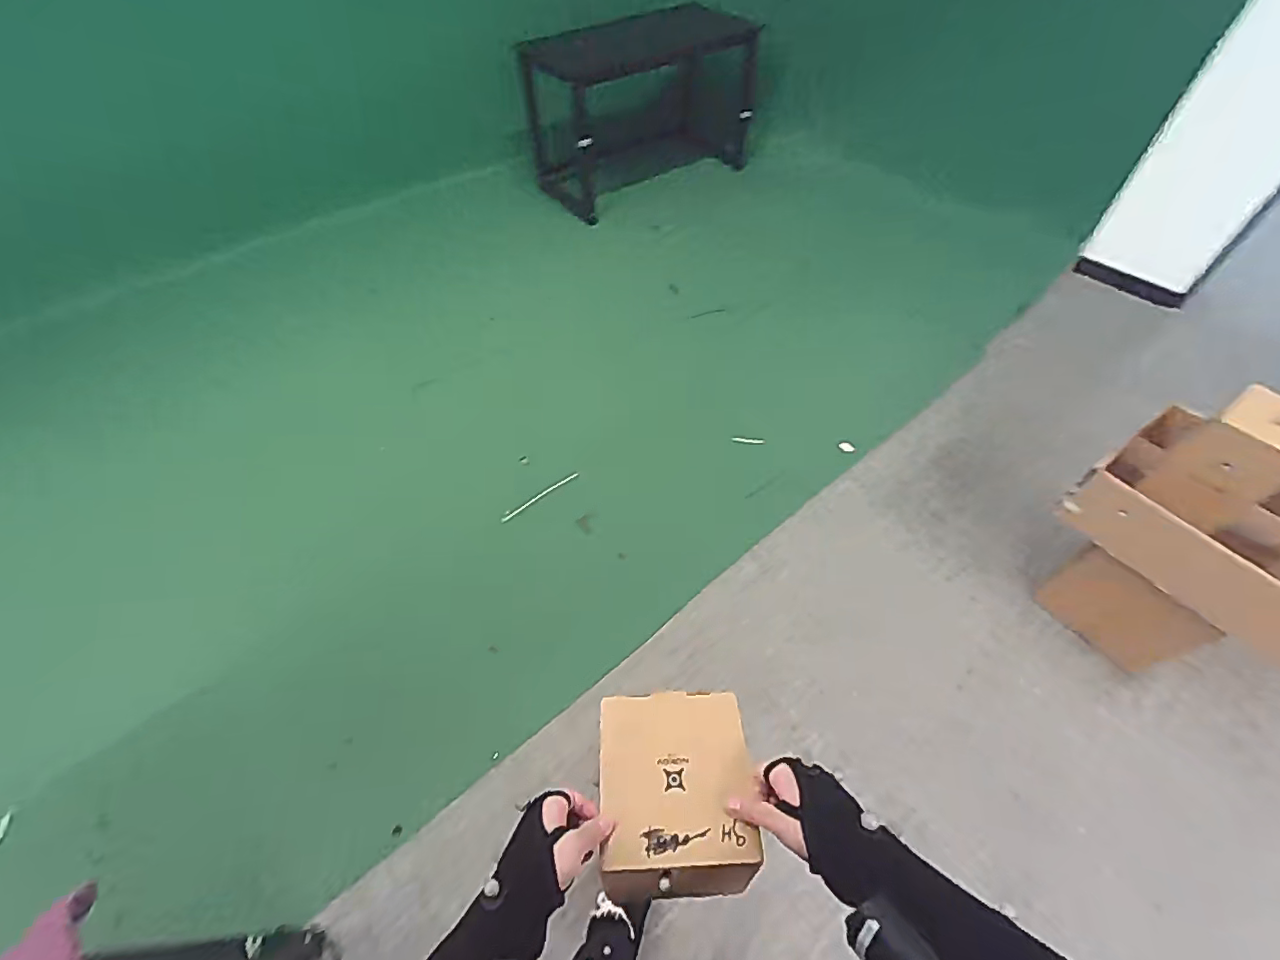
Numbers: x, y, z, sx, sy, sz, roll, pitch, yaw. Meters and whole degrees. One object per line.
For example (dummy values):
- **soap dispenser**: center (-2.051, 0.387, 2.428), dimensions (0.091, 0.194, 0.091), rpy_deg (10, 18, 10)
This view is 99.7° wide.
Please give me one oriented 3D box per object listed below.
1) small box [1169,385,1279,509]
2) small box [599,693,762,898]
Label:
- **small box**: center (1.334, -0.069, 1.187), dimensions (0.179, 0.176, 0.168), rpy_deg (-32, 59, -19)
- **small box**: center (0.039, 0.378, 0.650), dimensions (0.168, 0.176, 0.179), rpy_deg (-1, 44, -1)
